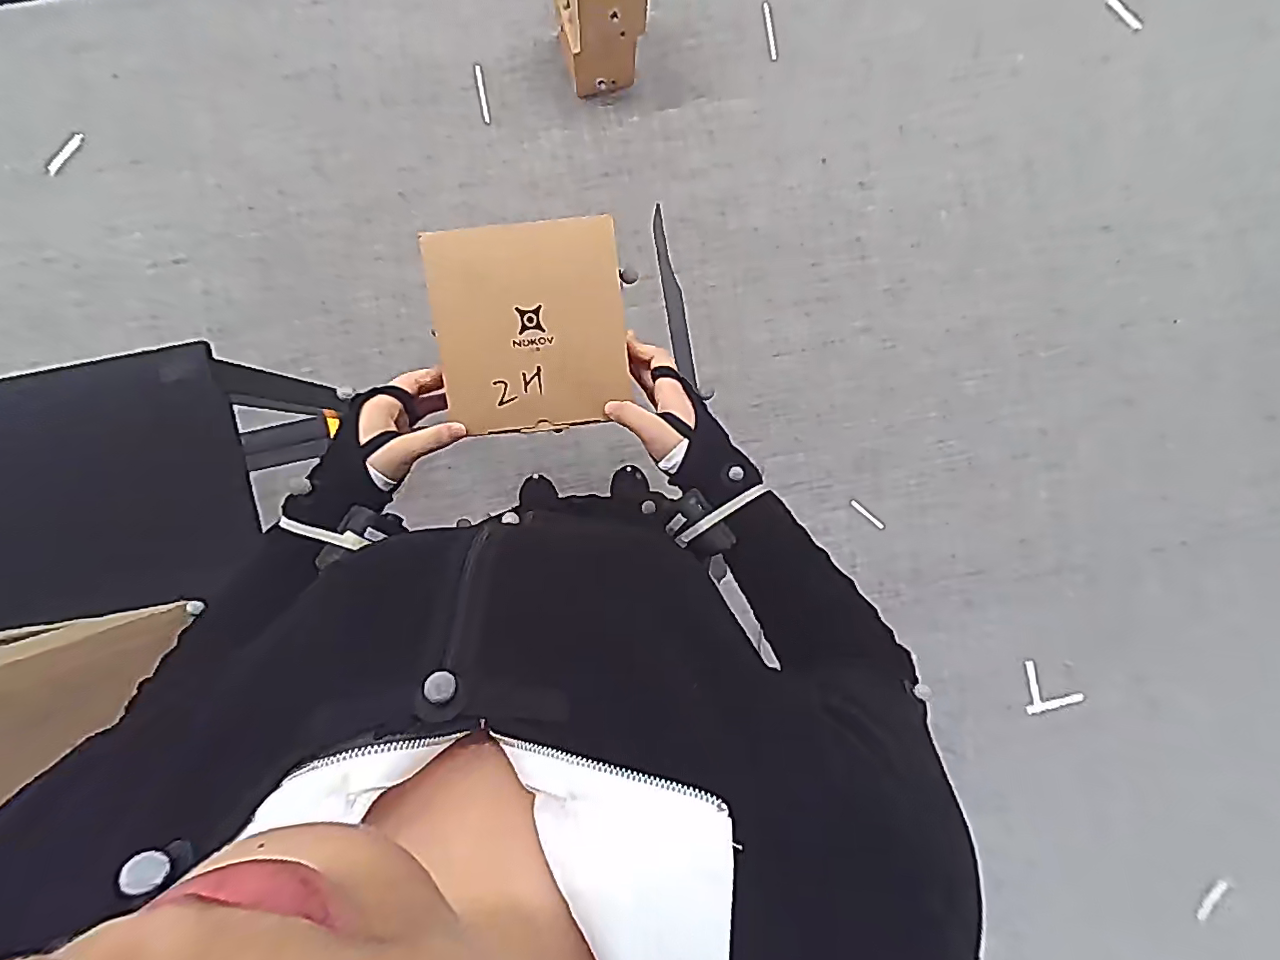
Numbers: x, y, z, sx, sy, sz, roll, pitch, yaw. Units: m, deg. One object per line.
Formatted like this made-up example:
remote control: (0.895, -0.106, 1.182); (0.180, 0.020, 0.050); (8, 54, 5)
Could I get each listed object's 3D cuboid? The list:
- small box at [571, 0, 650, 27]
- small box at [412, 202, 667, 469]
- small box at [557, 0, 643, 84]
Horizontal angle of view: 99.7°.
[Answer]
small box: (-0.073, -1.096, 1.125); (0.168, 0.176, 0.179); (-18, 94, -2)
small box: (-0.073, -0.118, 0.466); (0.168, 0.176, 0.179); (-6, 104, -1)
small box: (-0.100, -1.101, 1.288); (0.168, 0.176, 0.179); (-18, 95, -2)
